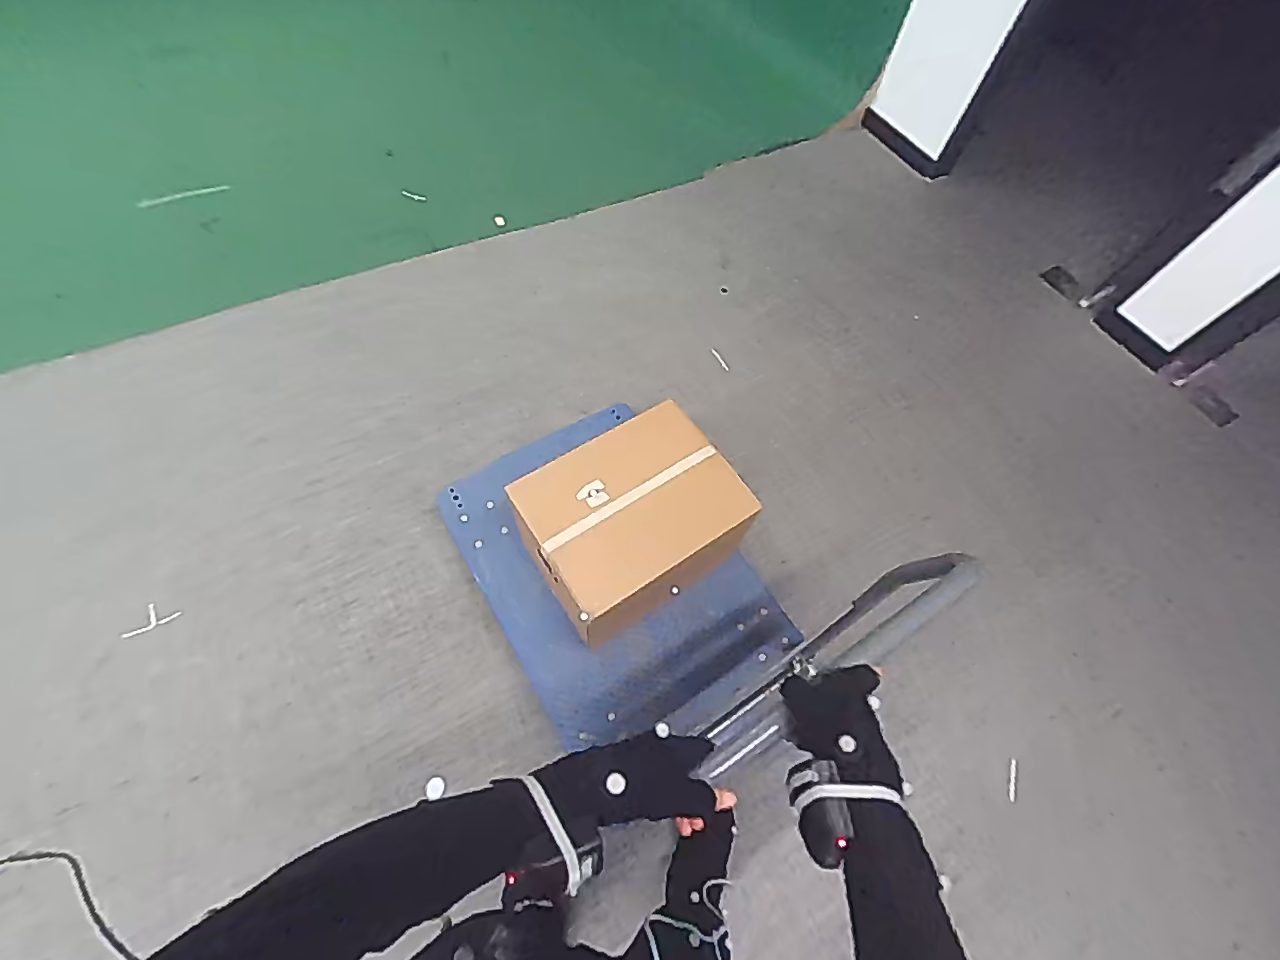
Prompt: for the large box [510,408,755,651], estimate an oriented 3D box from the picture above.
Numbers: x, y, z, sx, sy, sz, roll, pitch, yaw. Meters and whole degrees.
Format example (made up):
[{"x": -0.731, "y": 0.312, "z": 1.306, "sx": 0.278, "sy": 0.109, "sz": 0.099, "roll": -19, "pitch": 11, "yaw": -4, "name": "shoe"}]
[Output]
[{"x": -0.019, "y": 0.116, "z": 1.203, "sx": 0.408, "sy": 0.320, "sz": 0.320, "roll": -30, "pitch": 68, "yaw": -17, "name": "large box"}]
